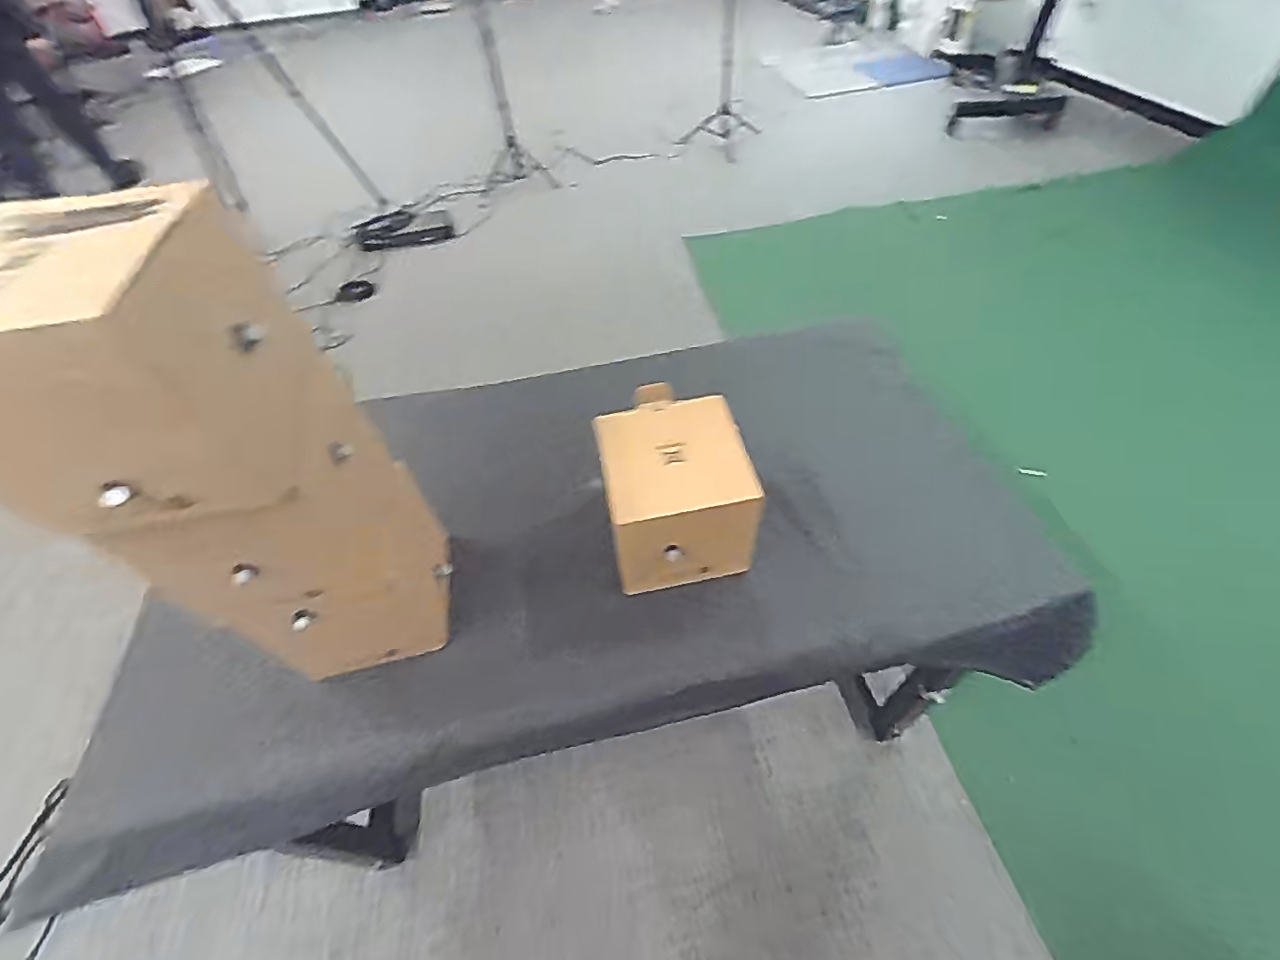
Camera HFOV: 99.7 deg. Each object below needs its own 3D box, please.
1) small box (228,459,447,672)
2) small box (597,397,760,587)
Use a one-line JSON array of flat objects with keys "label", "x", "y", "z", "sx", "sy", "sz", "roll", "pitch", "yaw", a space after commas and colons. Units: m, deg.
[{"label": "small box", "x": -0.343, "y": 0.104, "z": 0.656, "sx": 0.168, "sy": 0.176, "sz": 0.179, "roll": -12, "pitch": 50, "yaw": -6}, {"label": "small box", "x": 0.045, "y": 0.023, "z": 0.699, "sx": 0.168, "sy": 0.176, "sz": 0.179, "roll": -10, "pitch": 50, "yaw": -4}]
